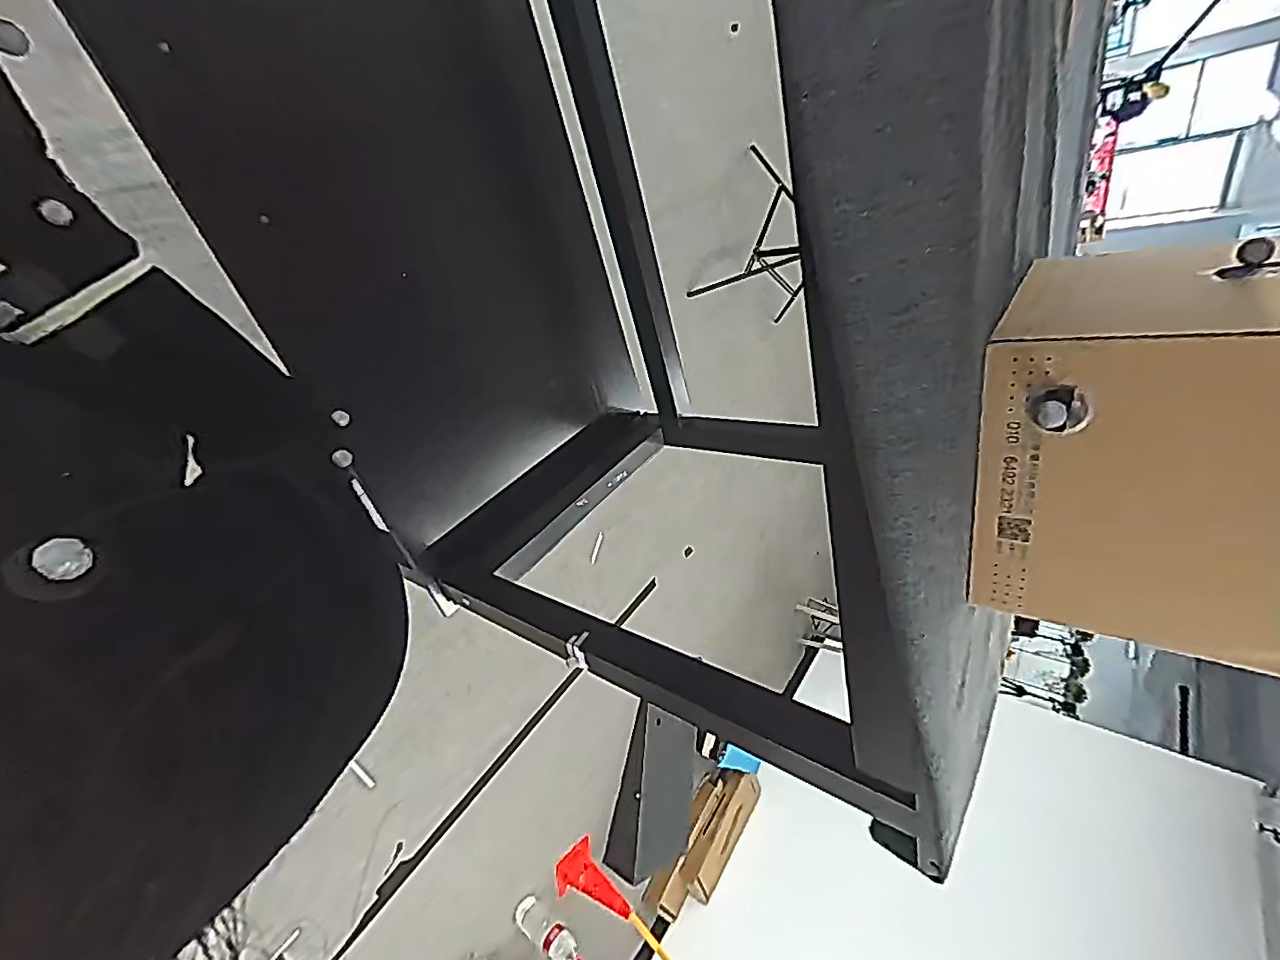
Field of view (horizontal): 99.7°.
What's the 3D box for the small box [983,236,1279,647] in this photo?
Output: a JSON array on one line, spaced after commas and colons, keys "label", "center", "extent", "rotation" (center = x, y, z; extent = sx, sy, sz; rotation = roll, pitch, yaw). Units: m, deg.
[{"label": "small box", "center": [0.303, -0.028, 0.299], "extent": [0.179, 0.176, 0.168], "rotation": [-40, 127, -41]}]
